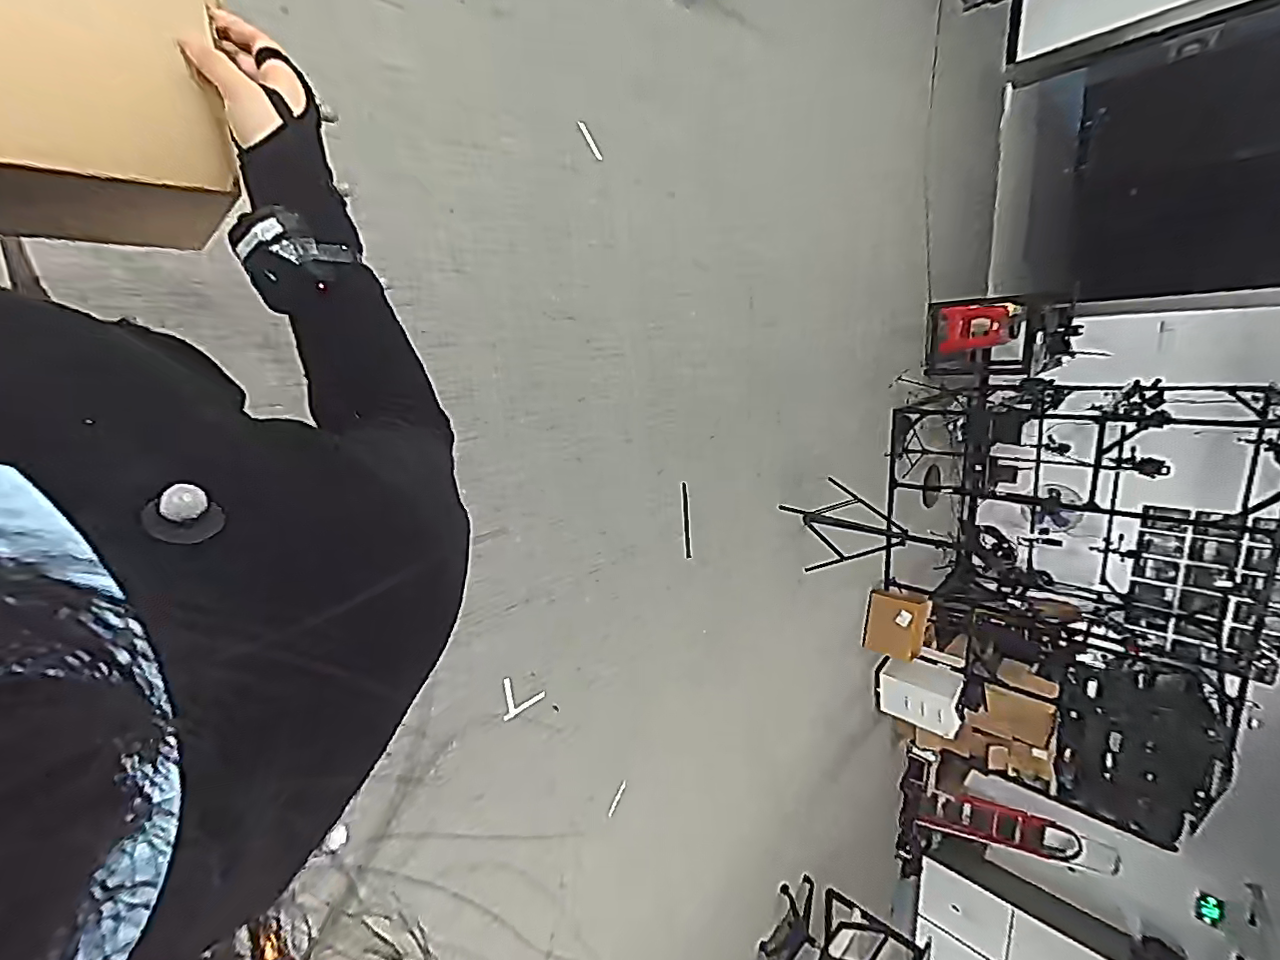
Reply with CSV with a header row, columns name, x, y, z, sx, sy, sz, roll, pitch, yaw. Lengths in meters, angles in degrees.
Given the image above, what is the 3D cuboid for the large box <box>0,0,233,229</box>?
name,x,y,z,sx,sy,sz,roll,pitch,yaw
large box,-0.579,-0.378,0.378,0.408,0.320,0.320,-14,108,-41
